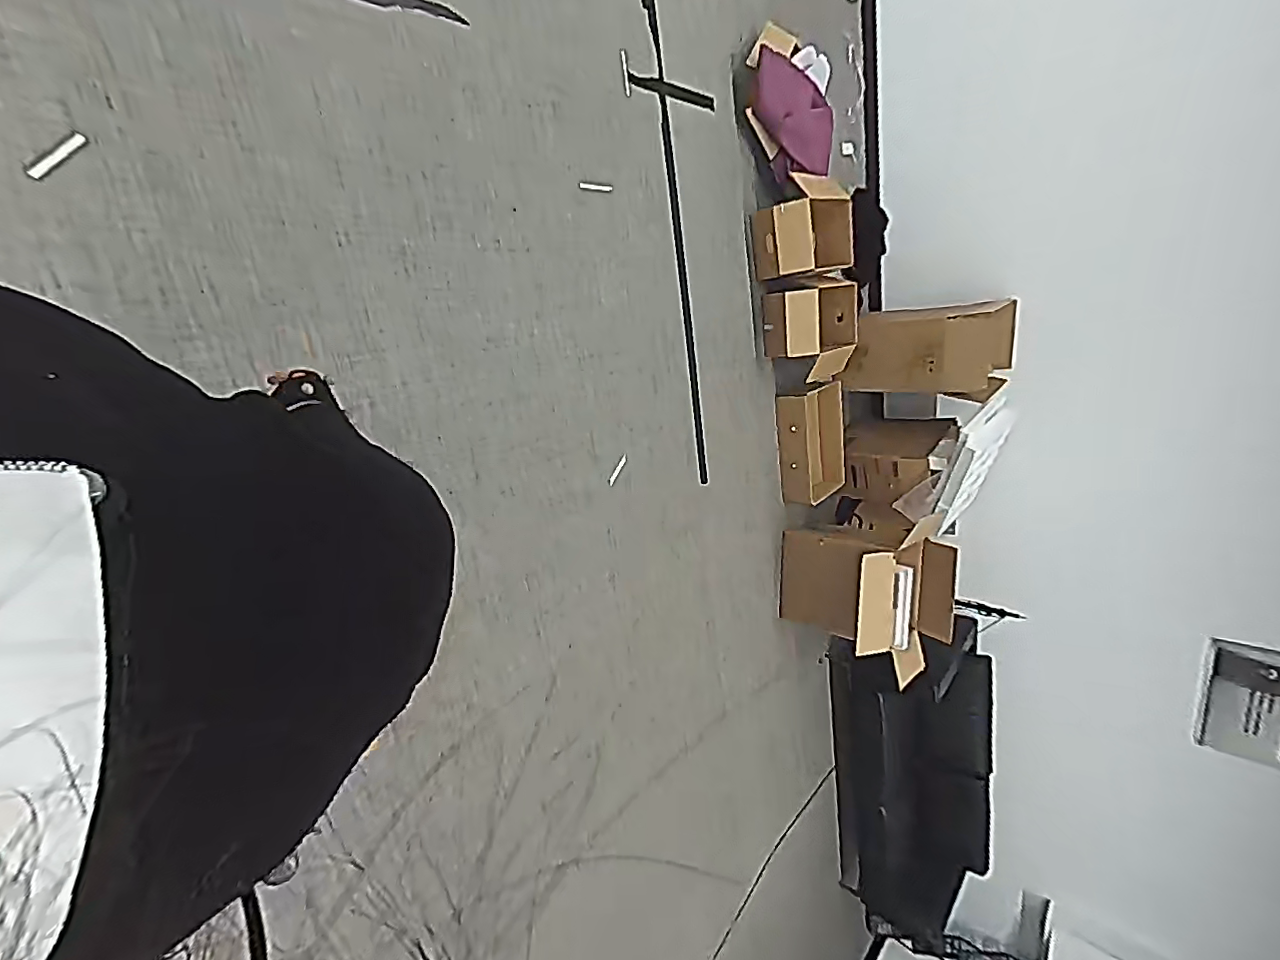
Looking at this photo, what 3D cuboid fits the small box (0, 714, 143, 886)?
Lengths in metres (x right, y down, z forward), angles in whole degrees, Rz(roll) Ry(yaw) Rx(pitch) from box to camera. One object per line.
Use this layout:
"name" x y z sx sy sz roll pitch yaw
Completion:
"small box" -1.025 0.546 0.957 0.168 0.176 0.179 -25 112 -40
